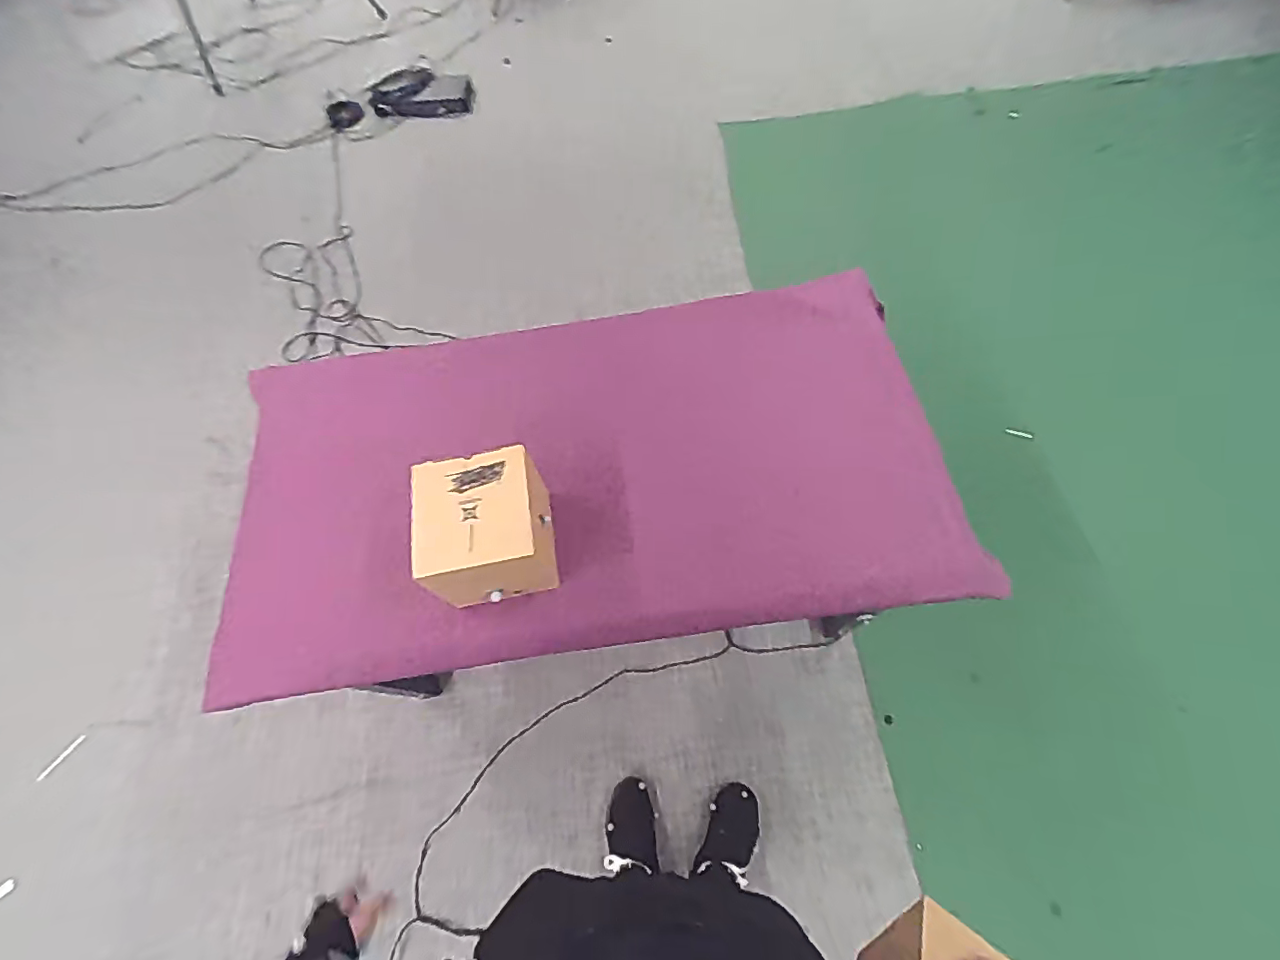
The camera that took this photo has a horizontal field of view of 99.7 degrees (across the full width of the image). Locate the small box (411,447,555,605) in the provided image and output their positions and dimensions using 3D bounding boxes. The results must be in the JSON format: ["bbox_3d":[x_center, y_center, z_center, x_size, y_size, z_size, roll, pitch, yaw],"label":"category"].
[{"bbox_3d":[-0.232,0.075,0.826,0.168,0.176,0.179,-11,64,-1],"label":"small box"}]

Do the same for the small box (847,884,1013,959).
[{"bbox_3d":[0.338,0.634,0.617,0.168,0.176,0.179,32,29,20],"label":"small box"}]
